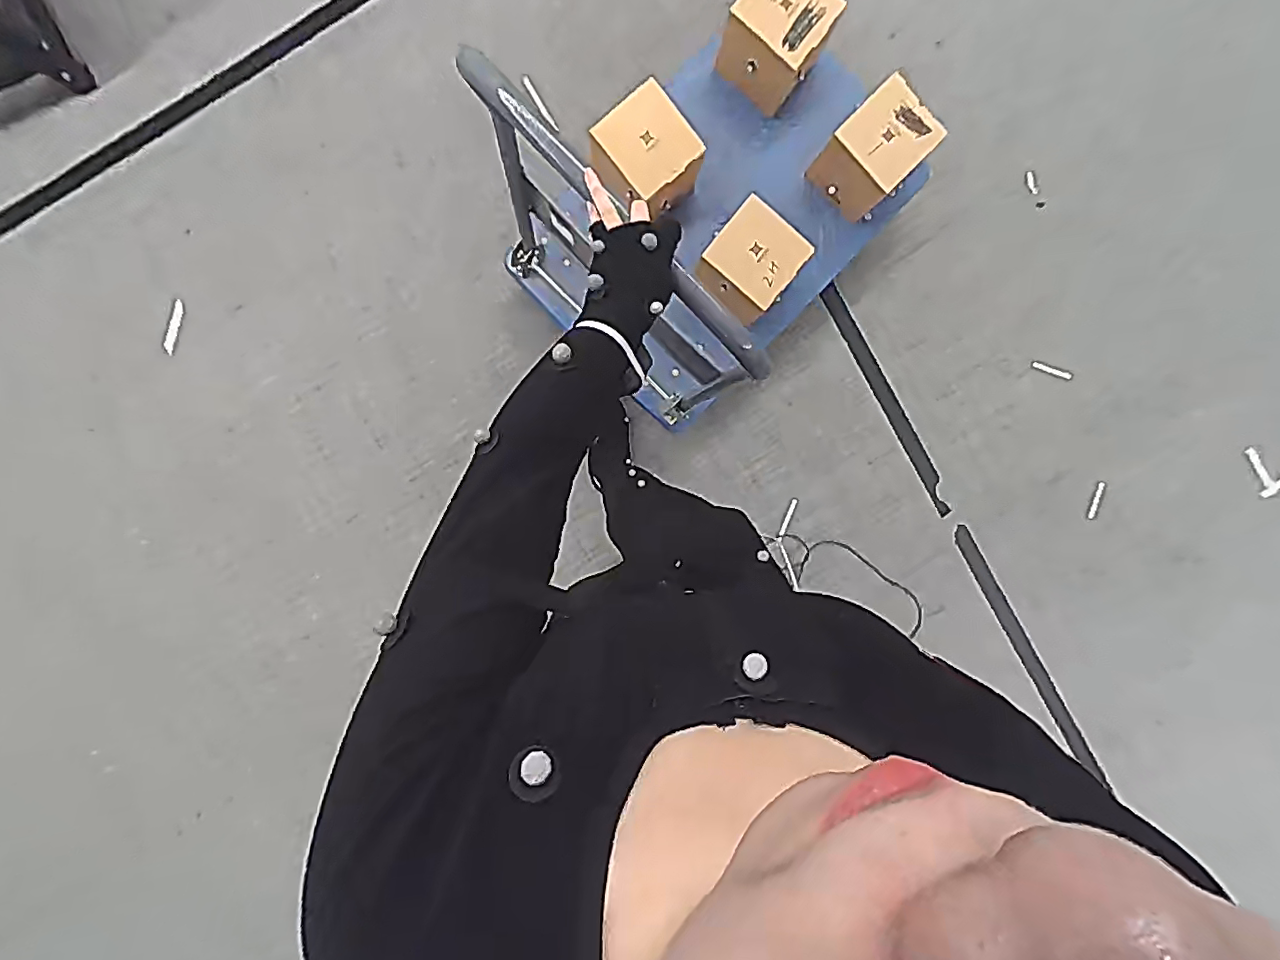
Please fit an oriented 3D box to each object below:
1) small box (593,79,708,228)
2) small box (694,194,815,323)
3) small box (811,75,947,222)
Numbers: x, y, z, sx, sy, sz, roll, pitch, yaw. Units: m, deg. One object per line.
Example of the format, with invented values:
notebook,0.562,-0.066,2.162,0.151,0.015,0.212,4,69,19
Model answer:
small box,0.015,-0.677,1.145,0.168,0.176,0.179,-41,97,0
small box,0.237,-0.466,1.174,0.179,0.176,0.168,40,91,-5
small box,0.506,-0.705,1.172,0.179,0.176,0.168,-44,96,2
